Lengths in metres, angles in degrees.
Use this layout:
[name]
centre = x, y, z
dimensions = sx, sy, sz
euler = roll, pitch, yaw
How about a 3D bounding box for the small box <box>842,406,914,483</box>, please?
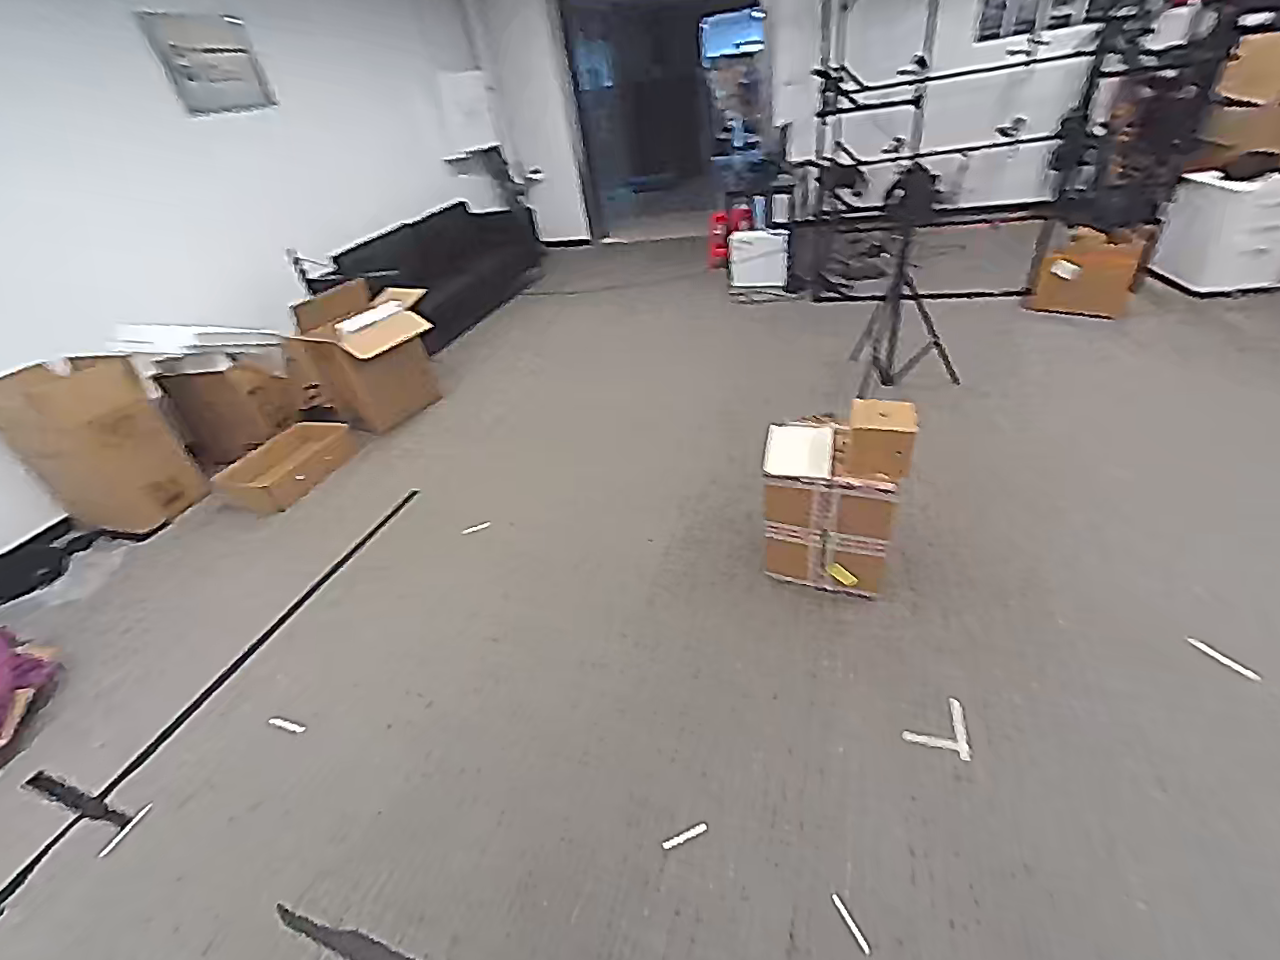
[small box]
centre = 0.717, -0.107, 1.645
dimensions = 0.179, 0.176, 0.168
euler = 4, 39, 18
